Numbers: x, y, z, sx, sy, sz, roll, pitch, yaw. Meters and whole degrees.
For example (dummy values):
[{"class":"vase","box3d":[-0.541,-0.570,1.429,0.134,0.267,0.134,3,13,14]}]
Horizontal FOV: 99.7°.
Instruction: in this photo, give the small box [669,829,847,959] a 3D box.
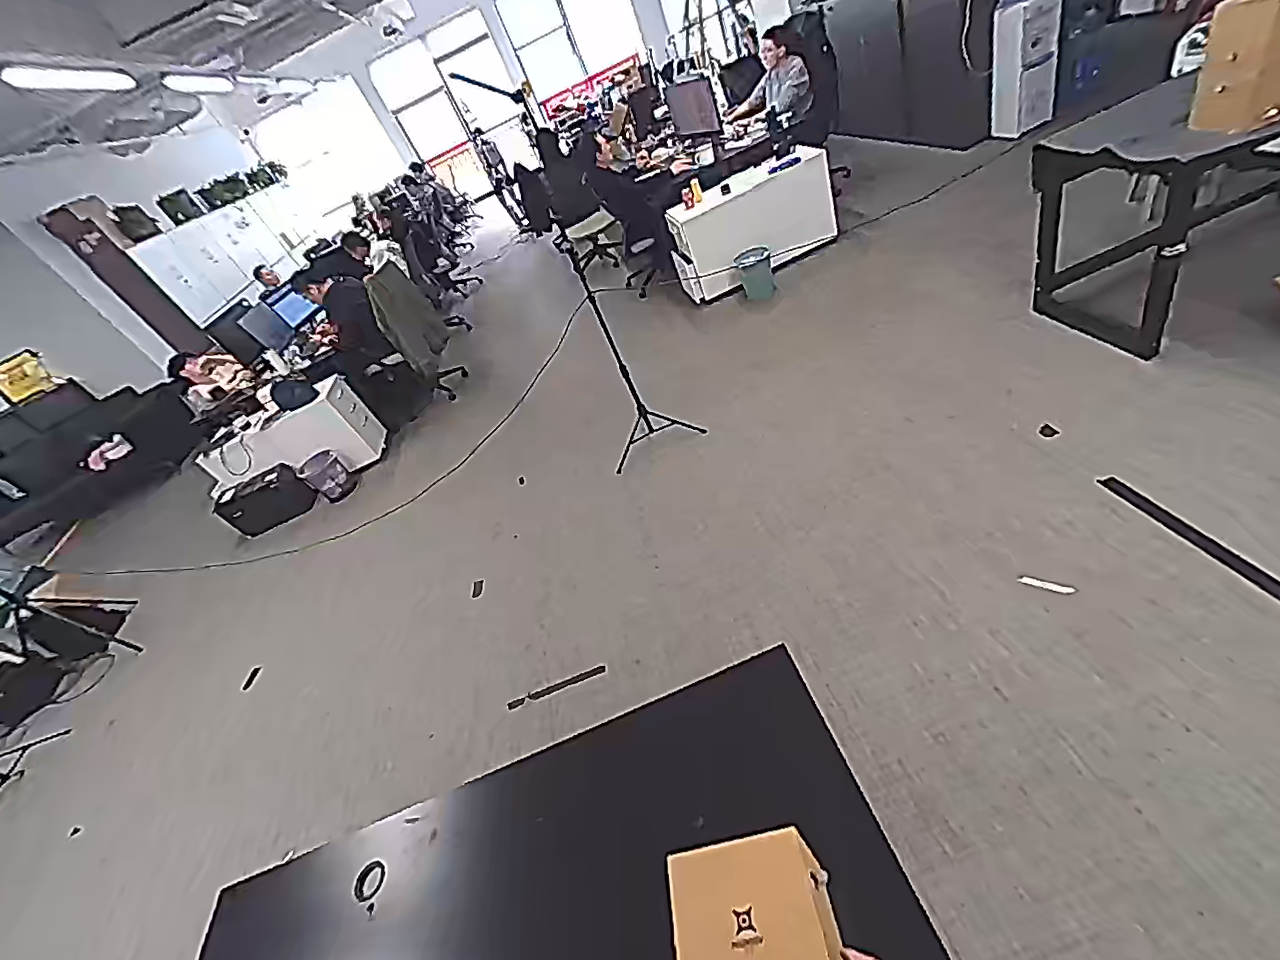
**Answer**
[{"class":"small box","box3d":[0.146,0.549,0.636,0.168,0.176,0.179,-21,38,11]}]
